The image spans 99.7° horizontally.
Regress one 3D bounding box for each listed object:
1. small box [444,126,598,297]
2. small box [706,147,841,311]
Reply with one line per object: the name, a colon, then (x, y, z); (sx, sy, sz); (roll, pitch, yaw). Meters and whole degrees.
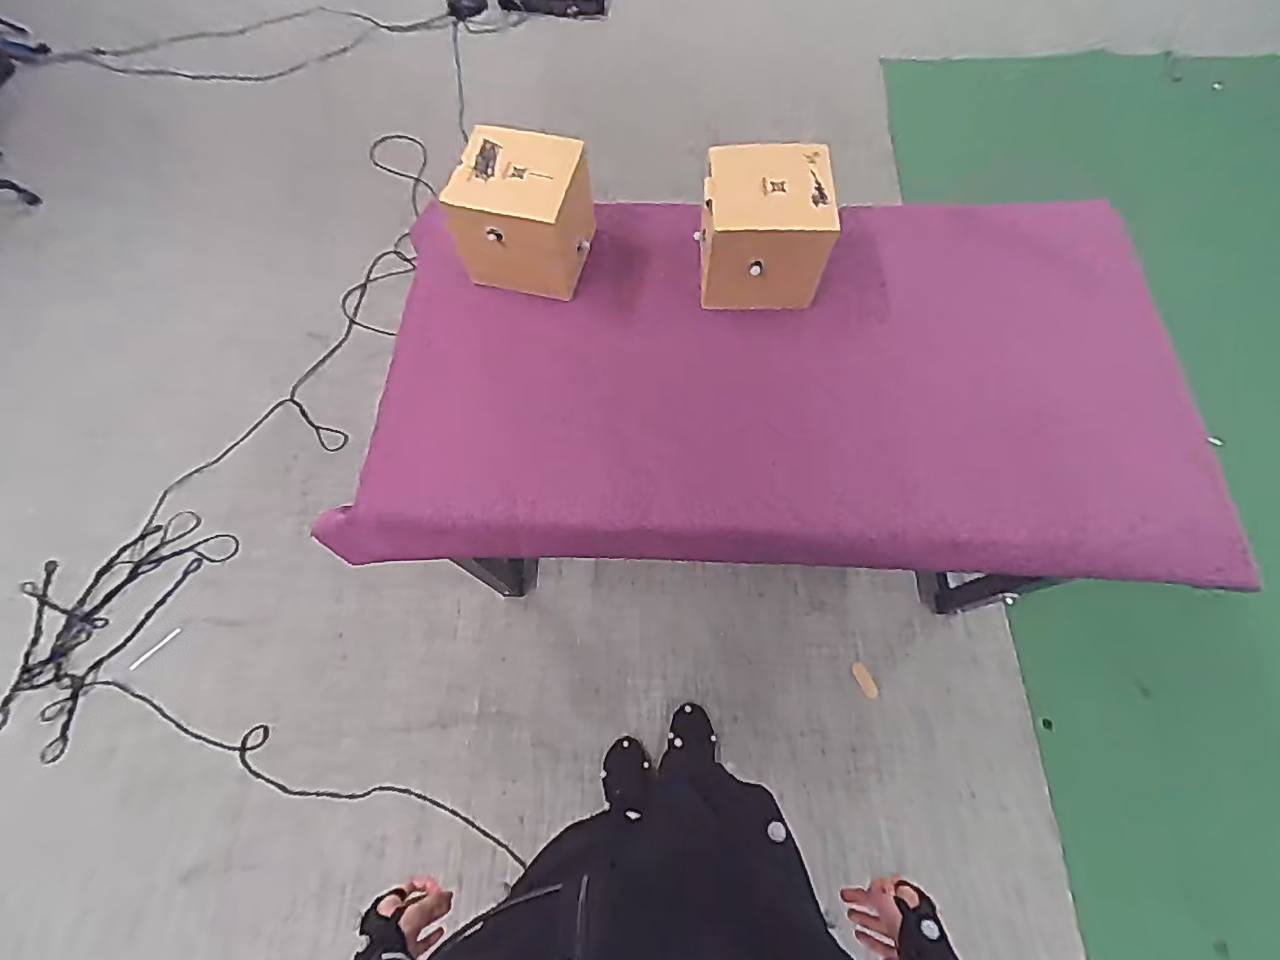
small box: (-0.175, -0.417, 0.858); (0.179, 0.176, 0.168); (13, 70, 6)
small box: (0.192, -0.378, 0.835); (0.179, 0.176, 0.168); (1, 70, 3)
